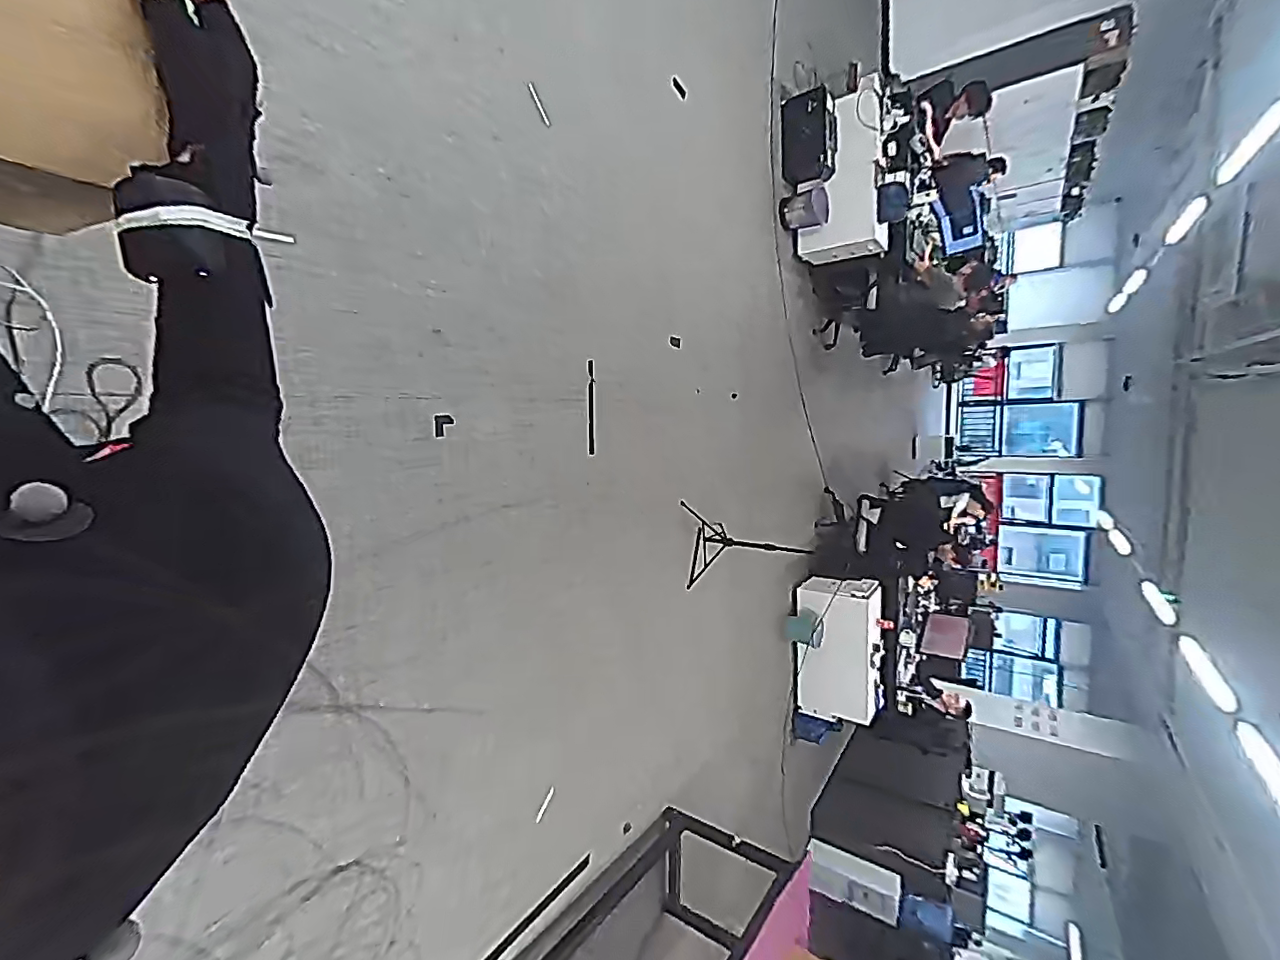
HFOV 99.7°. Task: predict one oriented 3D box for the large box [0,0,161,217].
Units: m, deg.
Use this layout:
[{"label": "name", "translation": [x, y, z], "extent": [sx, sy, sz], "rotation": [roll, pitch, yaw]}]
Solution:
[{"label": "large box", "translation": [-0.582, -0.382, 0.300], "extent": [0.408, 0.320, 0.320], "rotation": [-6, 106, -58]}]
